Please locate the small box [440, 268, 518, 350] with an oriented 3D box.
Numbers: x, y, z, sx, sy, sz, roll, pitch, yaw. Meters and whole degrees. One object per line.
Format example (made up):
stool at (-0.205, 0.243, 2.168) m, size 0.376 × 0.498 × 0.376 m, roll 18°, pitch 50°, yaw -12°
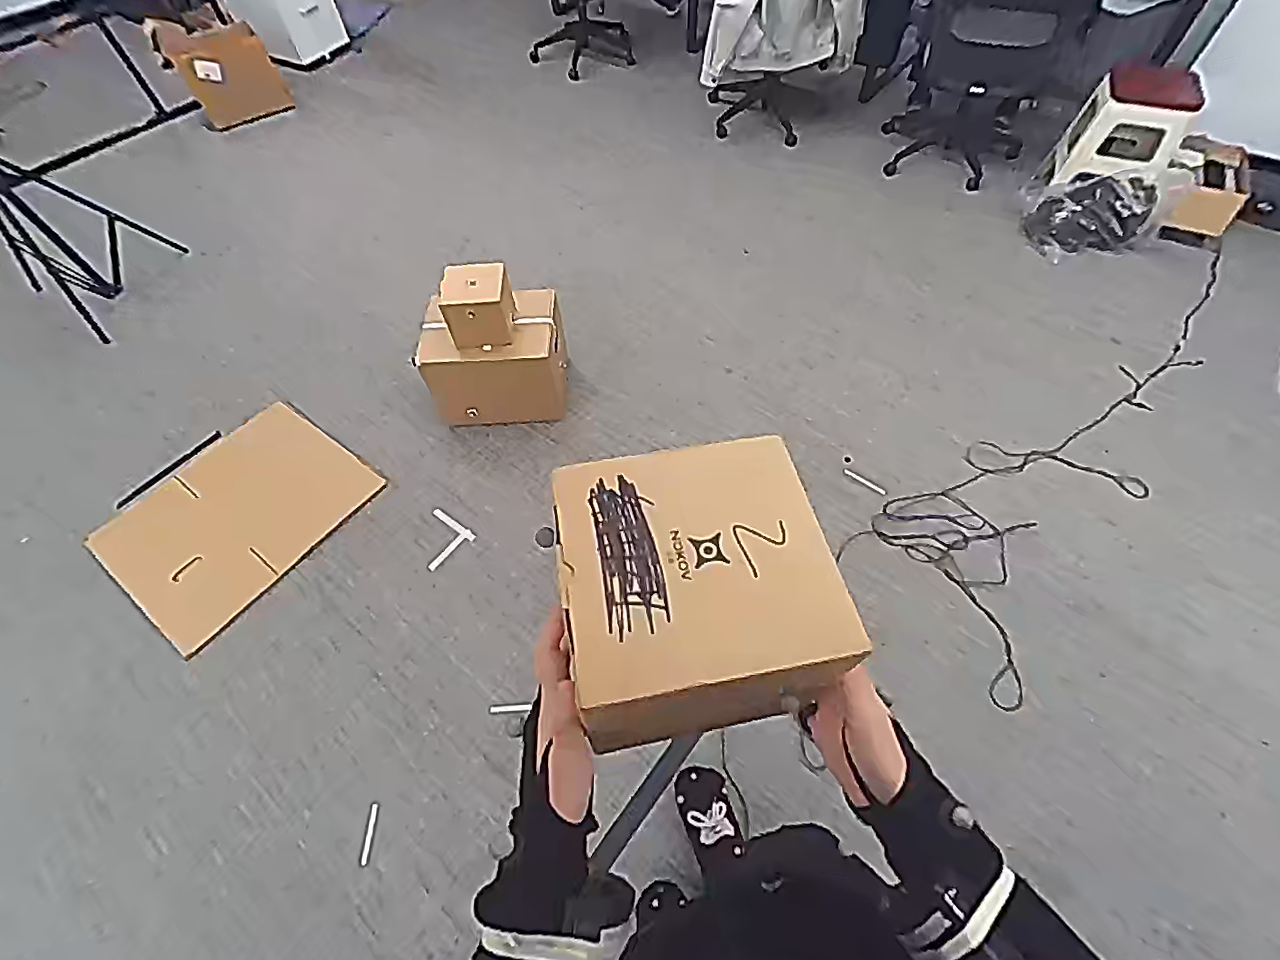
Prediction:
small box at (-0.471, -0.504, 1.609) m, size 0.179 × 0.176 × 0.168 m, roll -4°, pitch 59°, yaw -1°
